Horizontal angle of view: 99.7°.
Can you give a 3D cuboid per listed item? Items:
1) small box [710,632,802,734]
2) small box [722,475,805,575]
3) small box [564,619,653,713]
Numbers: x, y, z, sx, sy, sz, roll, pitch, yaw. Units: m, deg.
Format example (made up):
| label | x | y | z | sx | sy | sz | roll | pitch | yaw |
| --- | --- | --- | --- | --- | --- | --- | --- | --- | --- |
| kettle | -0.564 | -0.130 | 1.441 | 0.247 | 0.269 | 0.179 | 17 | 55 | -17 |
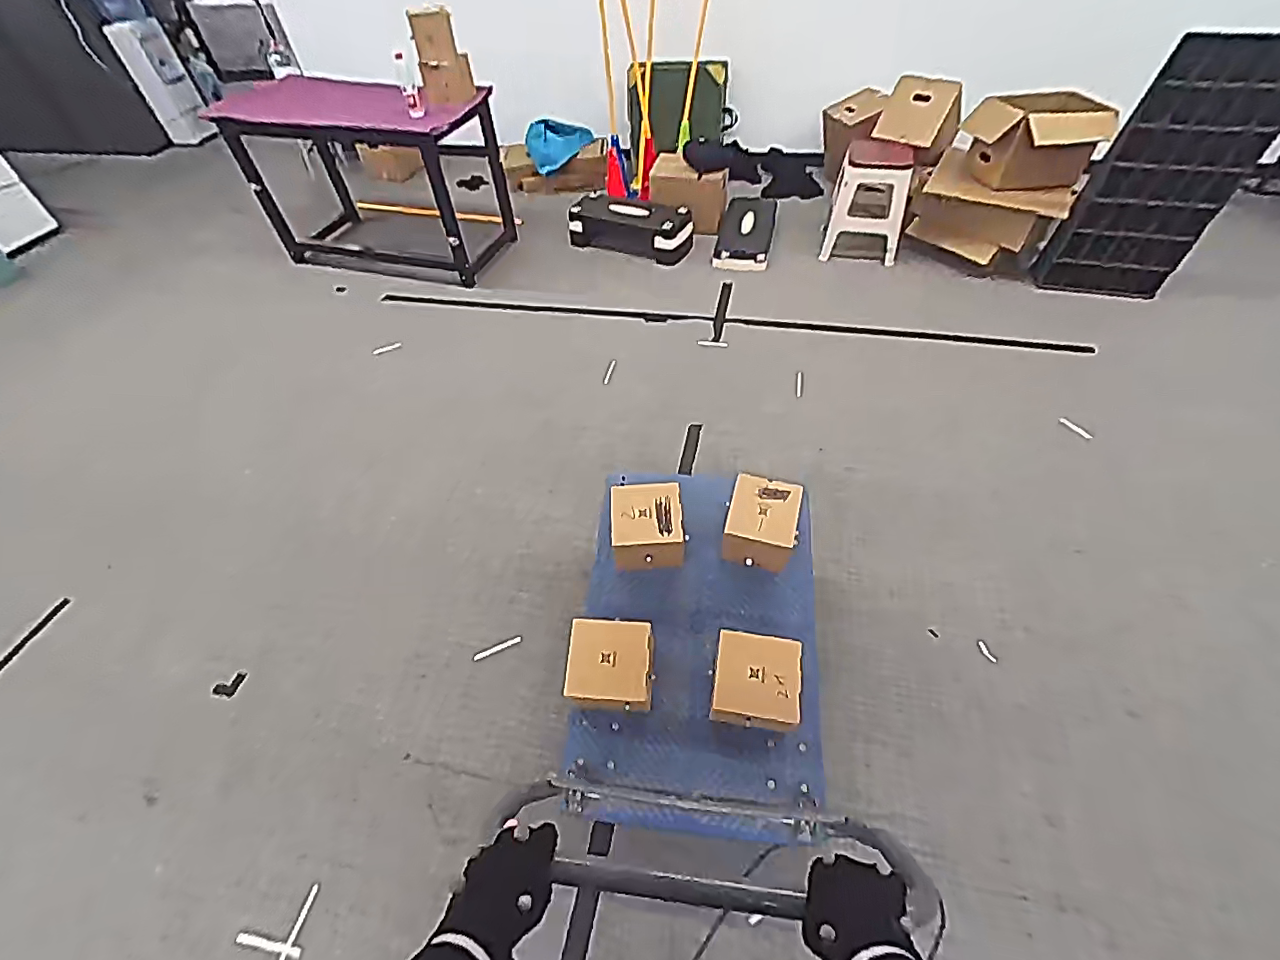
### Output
| label | x | y | z | sx | sy | sz | roll | pitch | yaw |
| --- | --- | --- | --- | --- | --- | --- | --- | --- | --- |
| small box | 0.250 | 0.450 | 1.188 | 0.179 | 0.176 | 0.168 | 8 | 60 | 8 |
| small box | 0.311 | 0.118 | 1.385 | 0.168 | 0.176 | 0.179 | 13 | 62 | 12 |
| small box | -0.064 | 0.425 | 1.225 | 0.179 | 0.176 | 0.168 | 2 | 59 | 4 |
